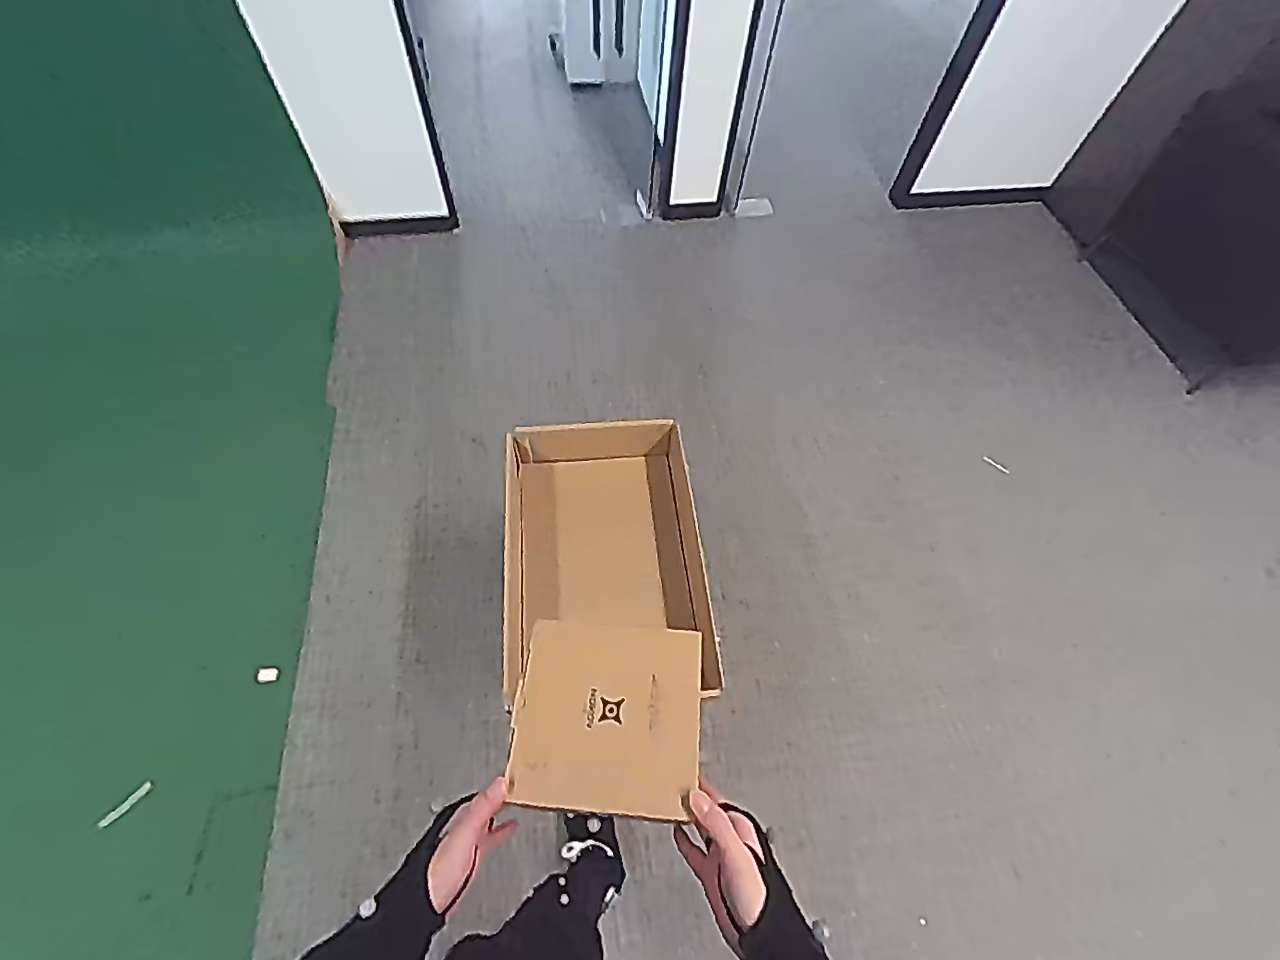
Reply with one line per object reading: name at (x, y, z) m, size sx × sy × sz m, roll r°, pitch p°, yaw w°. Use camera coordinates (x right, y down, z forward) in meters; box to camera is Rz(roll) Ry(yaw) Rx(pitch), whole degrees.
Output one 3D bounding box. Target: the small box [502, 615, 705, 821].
small box at (-0.027, 0.258, 0.577) m, size 0.179 × 0.176 × 0.168 m, roll 4°, pitch 57°, yaw 3°
